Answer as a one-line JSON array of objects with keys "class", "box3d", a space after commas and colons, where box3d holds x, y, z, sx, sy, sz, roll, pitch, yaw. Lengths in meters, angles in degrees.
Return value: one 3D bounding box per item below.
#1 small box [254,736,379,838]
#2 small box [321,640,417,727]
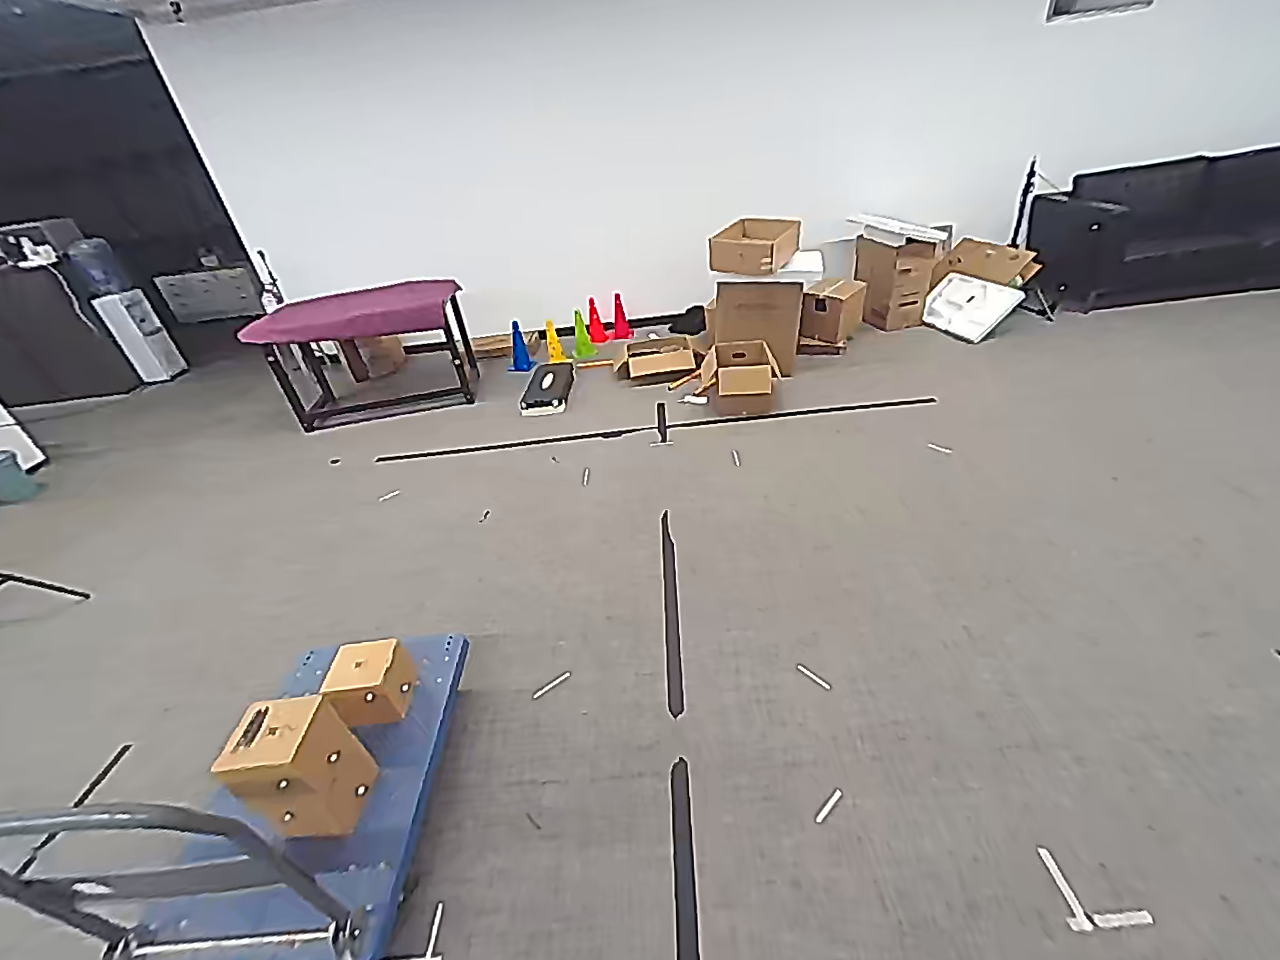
[{"class": "small box", "box3d": [-0.787, 0.759, 1.334, 0.179, 0.176, 0.168, -4, 34, 5]}, {"class": "small box", "box3d": [-0.783, 0.597, 1.581, 0.179, 0.176, 0.168, -8, 33, -1]}]
